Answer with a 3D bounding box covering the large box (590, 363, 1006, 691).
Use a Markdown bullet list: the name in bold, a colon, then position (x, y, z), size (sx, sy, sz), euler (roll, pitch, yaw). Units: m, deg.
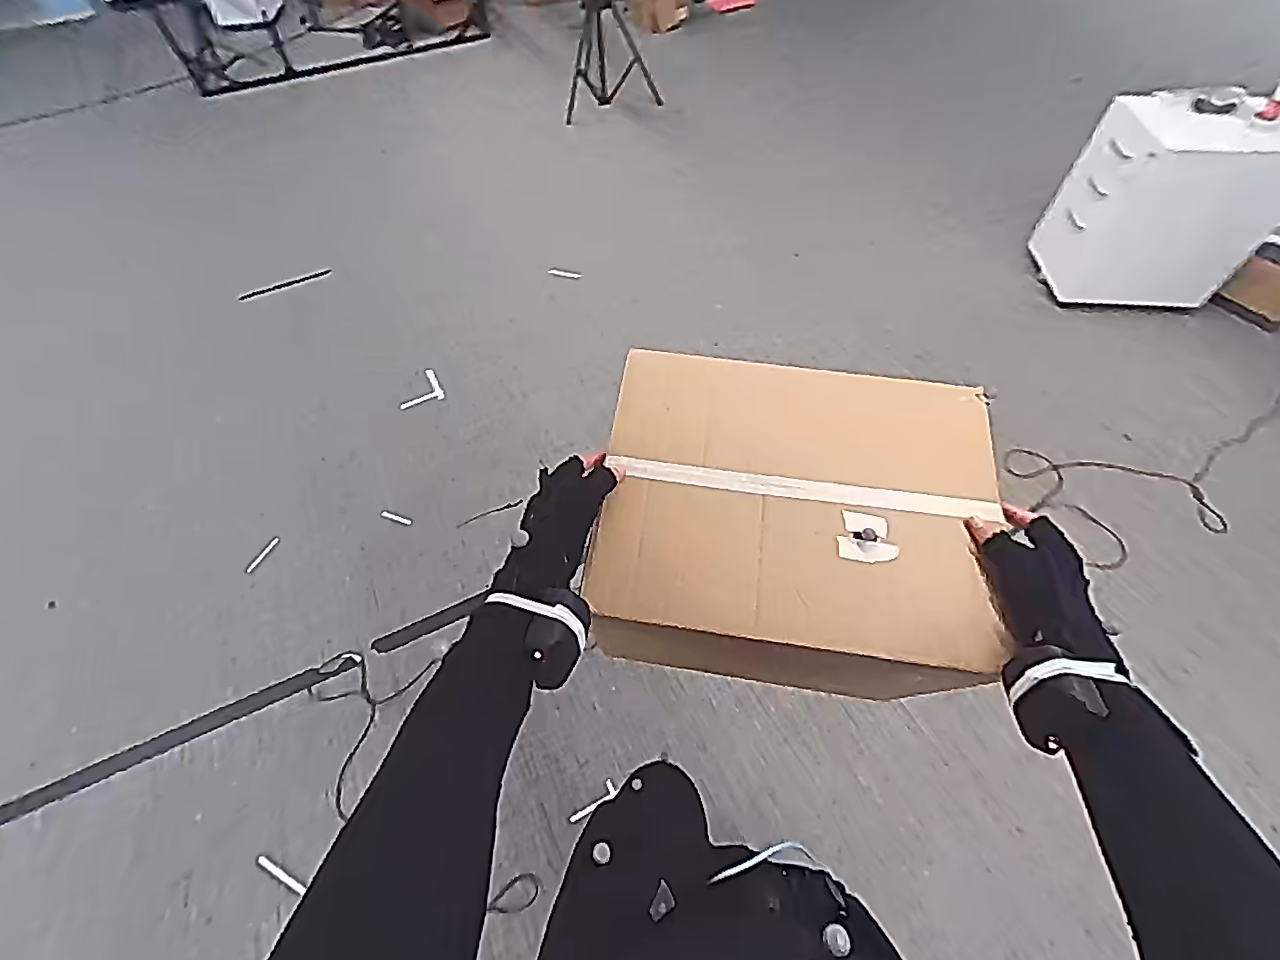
- **large box**: position (0.165, 0.080, 0.710), size (0.408, 0.320, 0.320), euler (7, 66, 4)
